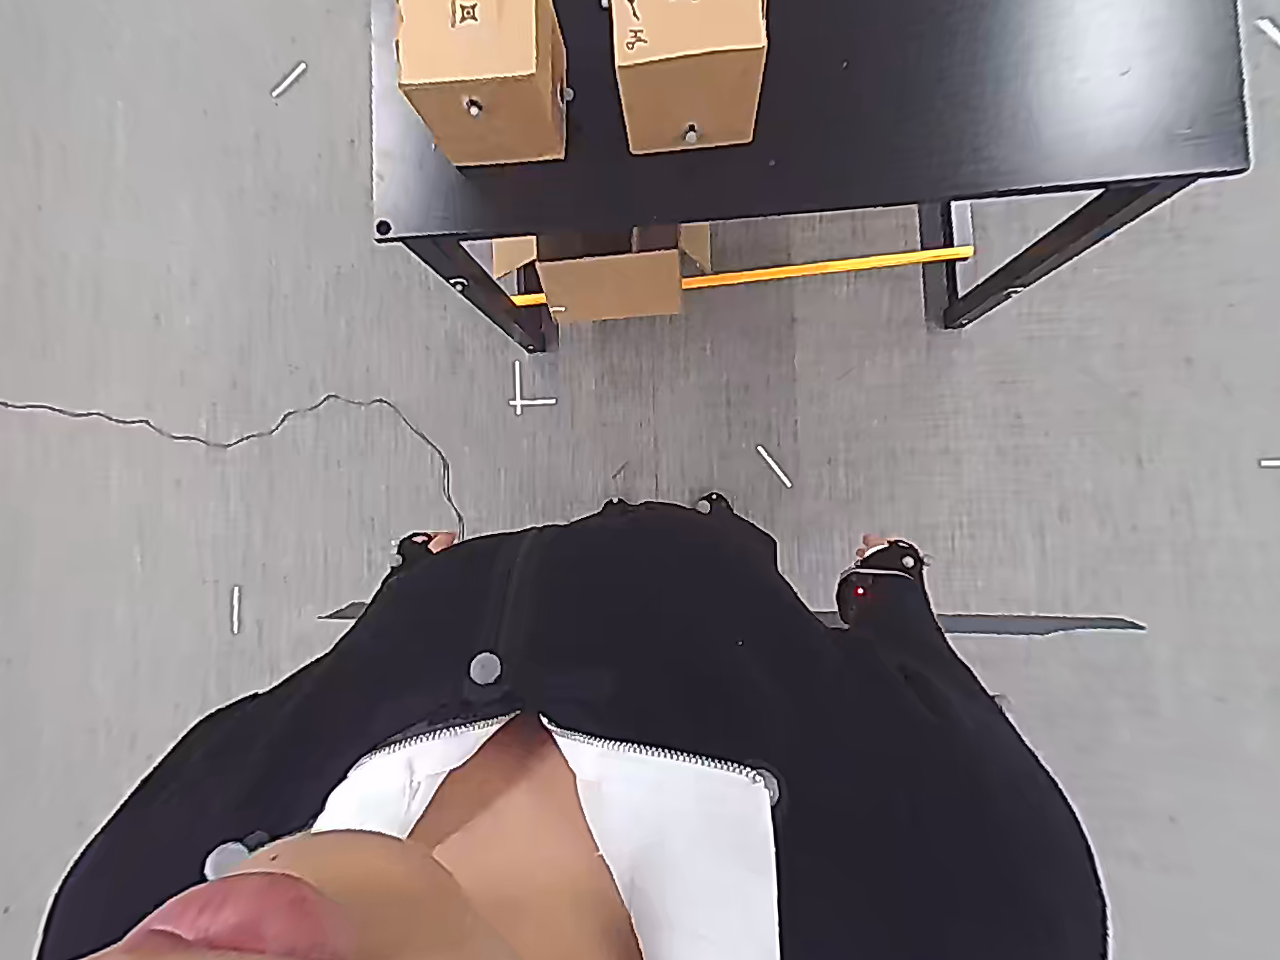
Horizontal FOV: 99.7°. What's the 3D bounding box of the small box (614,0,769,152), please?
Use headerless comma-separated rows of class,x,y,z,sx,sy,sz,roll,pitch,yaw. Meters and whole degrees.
small box,0.062,-0.559,0.697,0.179,0.176,0.168,-3,88,4

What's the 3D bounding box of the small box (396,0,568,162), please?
small box,-0.201,-0.554,0.722,0.179,0.176,0.168,-1,89,4
